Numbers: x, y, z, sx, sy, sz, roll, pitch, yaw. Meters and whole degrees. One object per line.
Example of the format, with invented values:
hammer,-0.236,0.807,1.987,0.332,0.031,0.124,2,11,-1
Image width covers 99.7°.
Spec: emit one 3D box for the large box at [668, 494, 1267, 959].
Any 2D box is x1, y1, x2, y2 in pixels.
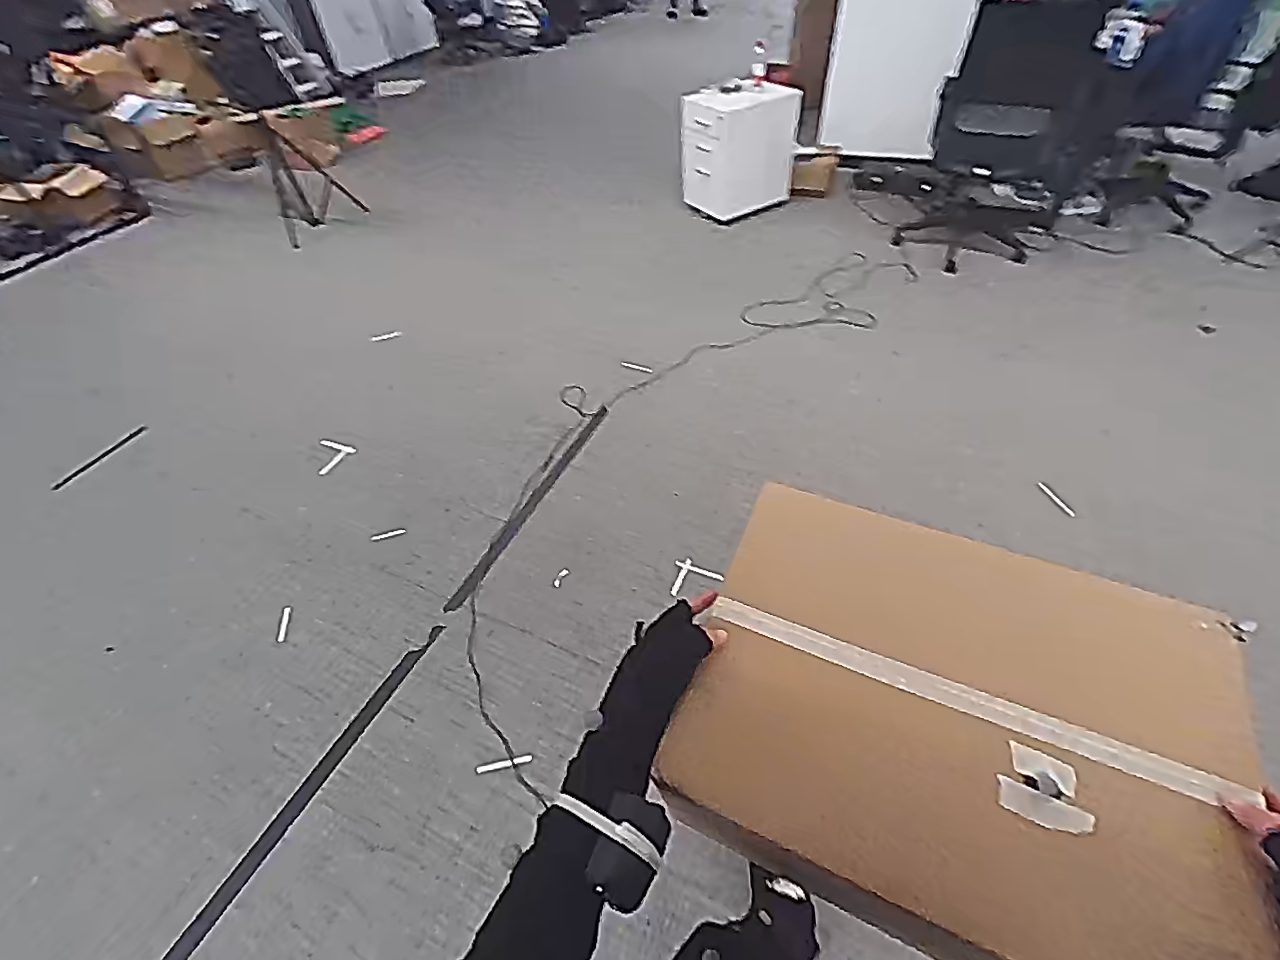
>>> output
large box,0.274,0.269,0.575,0.408,0.320,0.320,18,59,19
